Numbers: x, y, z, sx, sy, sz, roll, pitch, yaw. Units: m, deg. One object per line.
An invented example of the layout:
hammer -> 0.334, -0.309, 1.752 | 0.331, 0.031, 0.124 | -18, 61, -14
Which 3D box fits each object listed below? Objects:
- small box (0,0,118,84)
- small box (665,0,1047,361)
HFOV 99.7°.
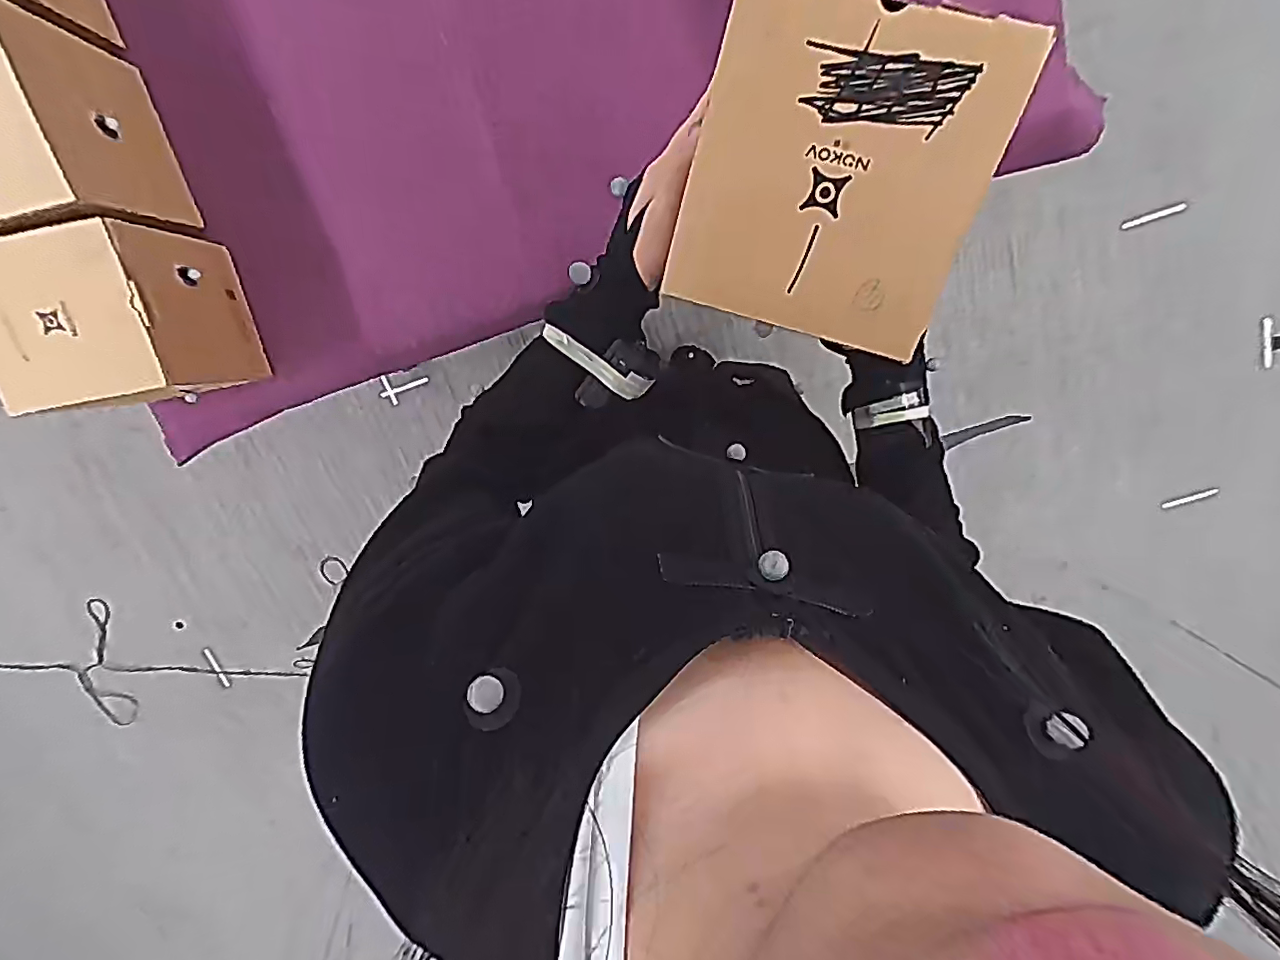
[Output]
small box -> -0.675, -0.523, 0.510 | 0.168, 0.176, 0.179 | -14, 107, 3
small box -> 0.128, -0.203, 0.390 | 0.168, 0.176, 0.179 | 18, 112, 5
